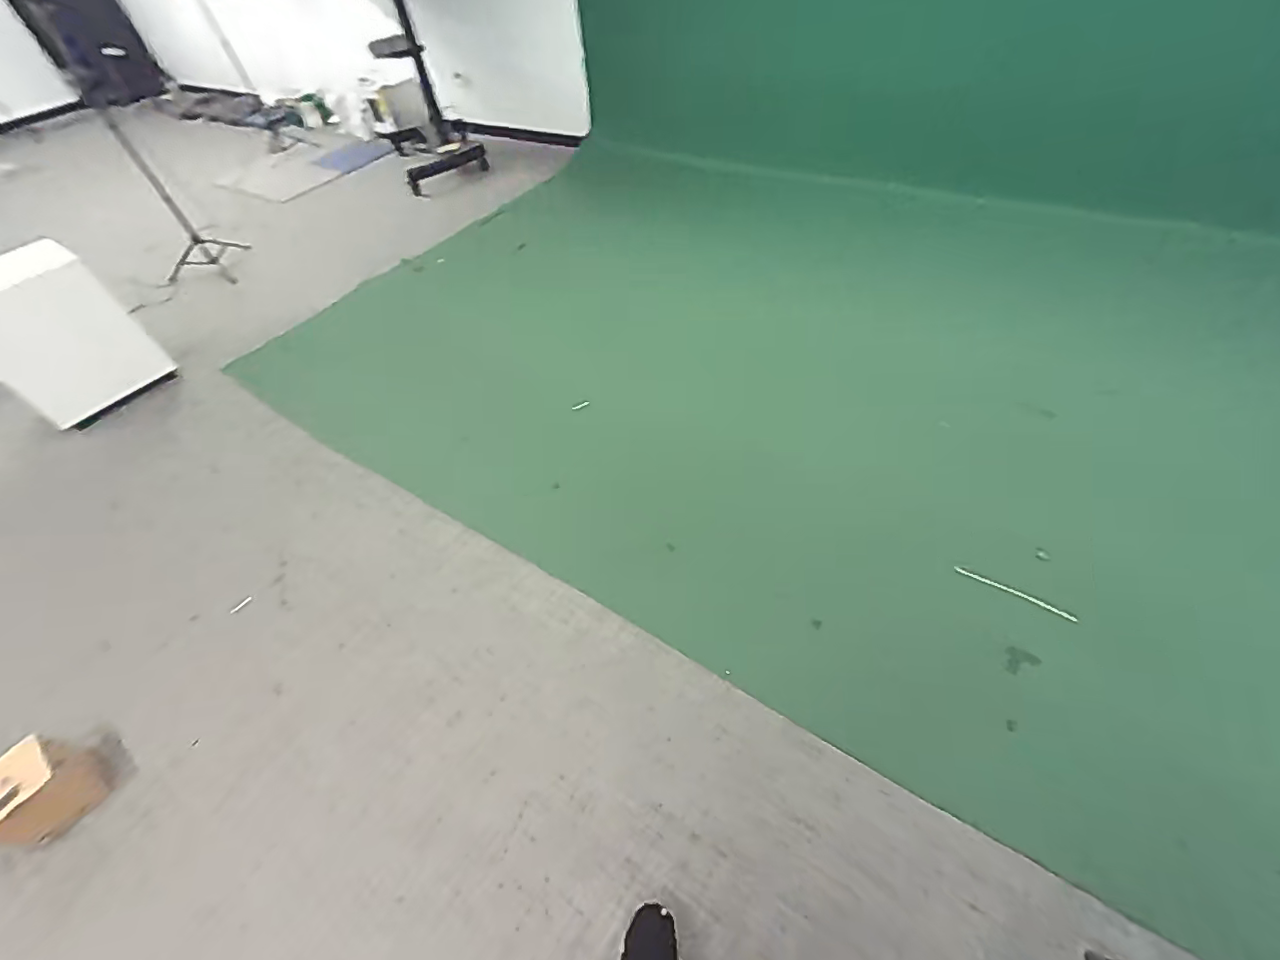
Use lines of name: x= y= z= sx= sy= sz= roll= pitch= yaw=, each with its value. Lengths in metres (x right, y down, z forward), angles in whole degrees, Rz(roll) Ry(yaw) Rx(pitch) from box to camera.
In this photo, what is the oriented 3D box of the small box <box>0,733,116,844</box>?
small box: x=-1.497 y=0.785 z=1.369 sx=0.179 sy=0.176 sz=0.168 roll=28 pitch=58 yaw=28
